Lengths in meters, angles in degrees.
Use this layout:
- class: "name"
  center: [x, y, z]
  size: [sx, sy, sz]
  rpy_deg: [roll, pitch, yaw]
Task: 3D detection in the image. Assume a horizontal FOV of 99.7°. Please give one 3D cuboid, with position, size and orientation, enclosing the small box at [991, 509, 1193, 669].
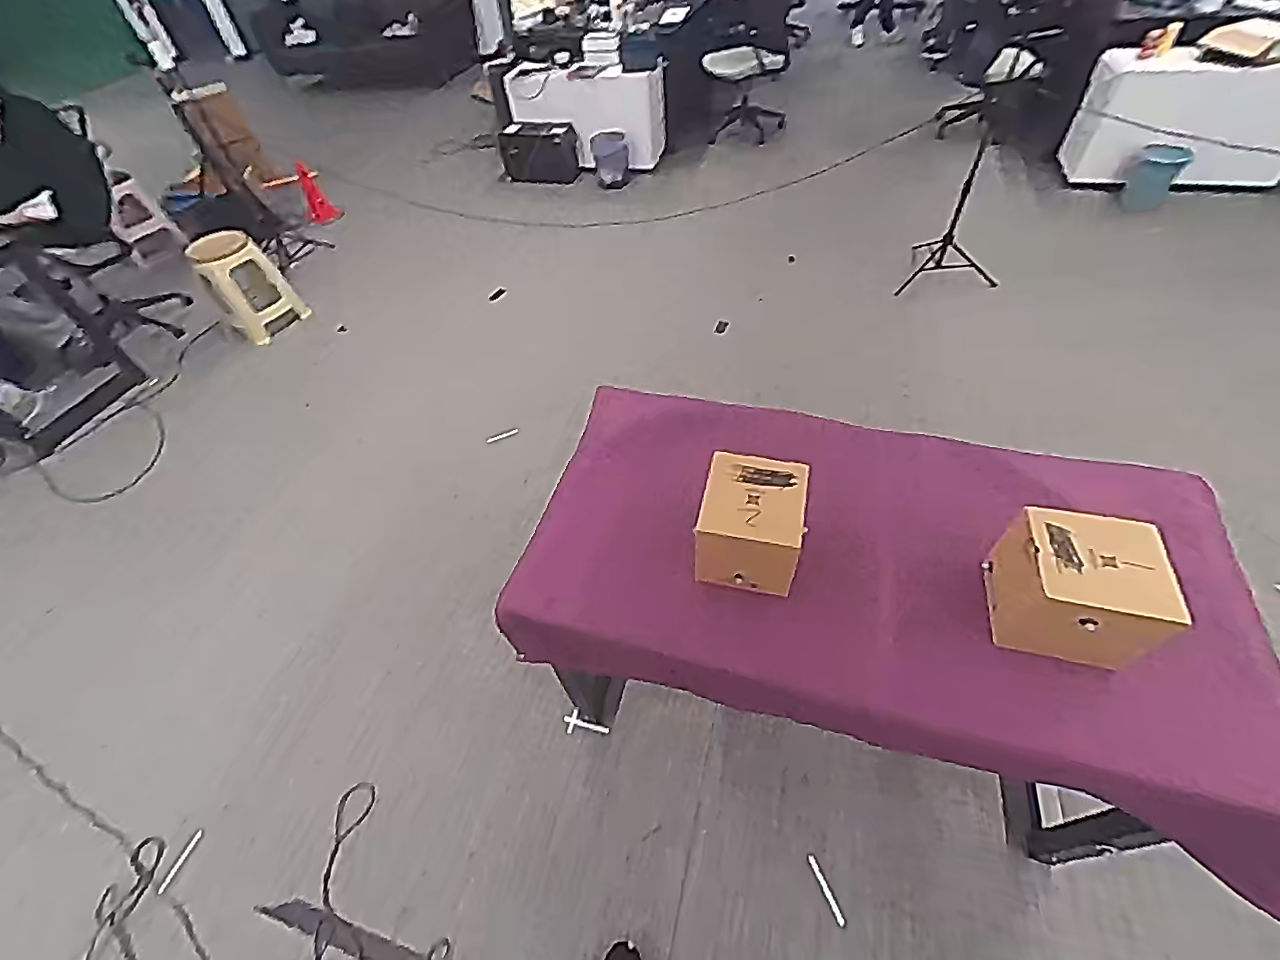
- class: "small box"
  center: [0.667, 0.170, 0.832]
  size: [0.179, 0.176, 0.168]
  rpy_deg: [10, 52, 13]
